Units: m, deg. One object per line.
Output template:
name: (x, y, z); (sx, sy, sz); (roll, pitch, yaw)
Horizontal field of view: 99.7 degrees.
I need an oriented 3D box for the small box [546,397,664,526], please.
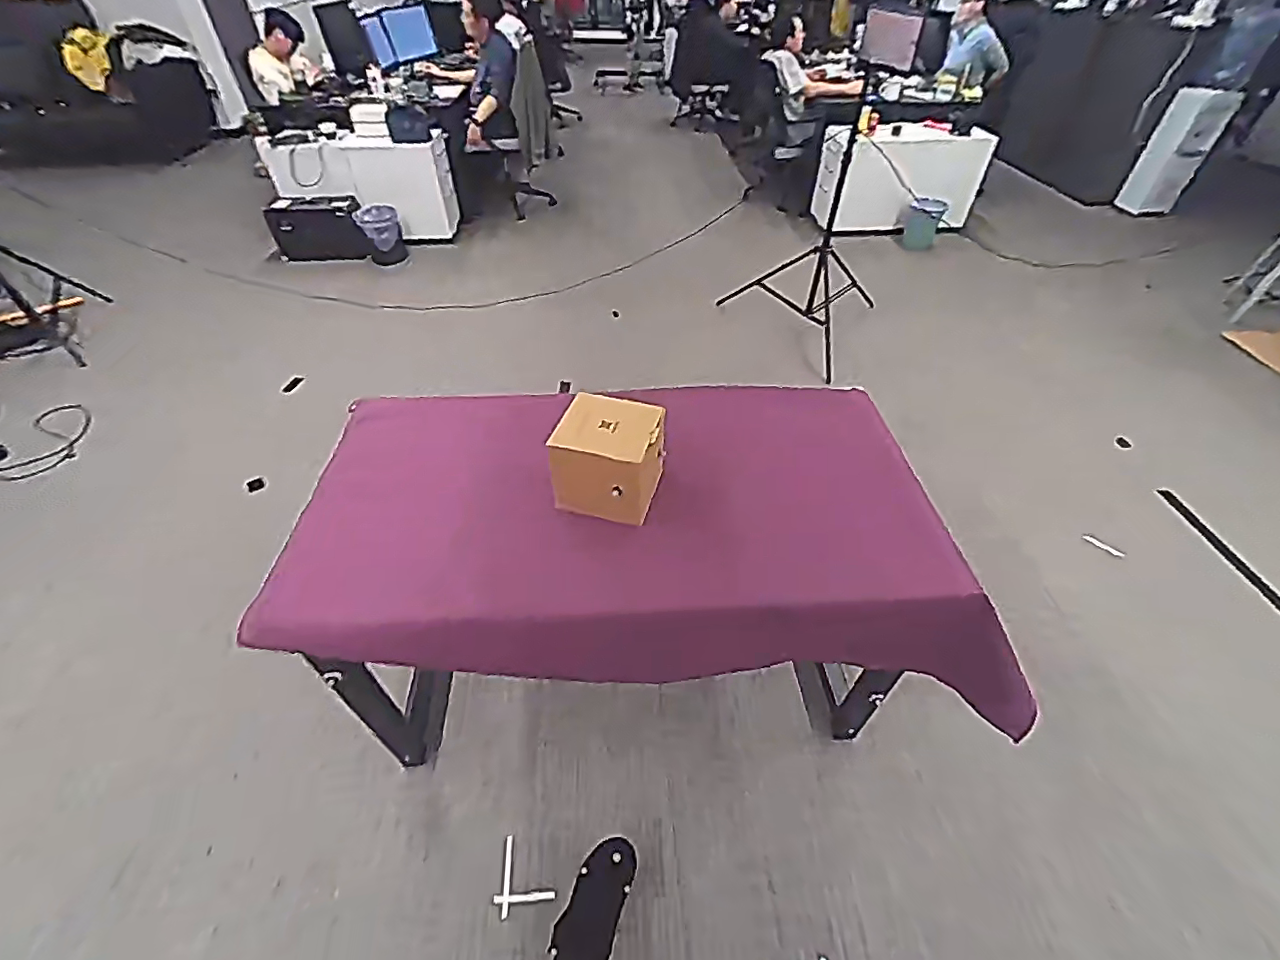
small box: (-0.059, -0.033, 1.032); (0.179, 0.176, 0.168); (10, 45, 12)
